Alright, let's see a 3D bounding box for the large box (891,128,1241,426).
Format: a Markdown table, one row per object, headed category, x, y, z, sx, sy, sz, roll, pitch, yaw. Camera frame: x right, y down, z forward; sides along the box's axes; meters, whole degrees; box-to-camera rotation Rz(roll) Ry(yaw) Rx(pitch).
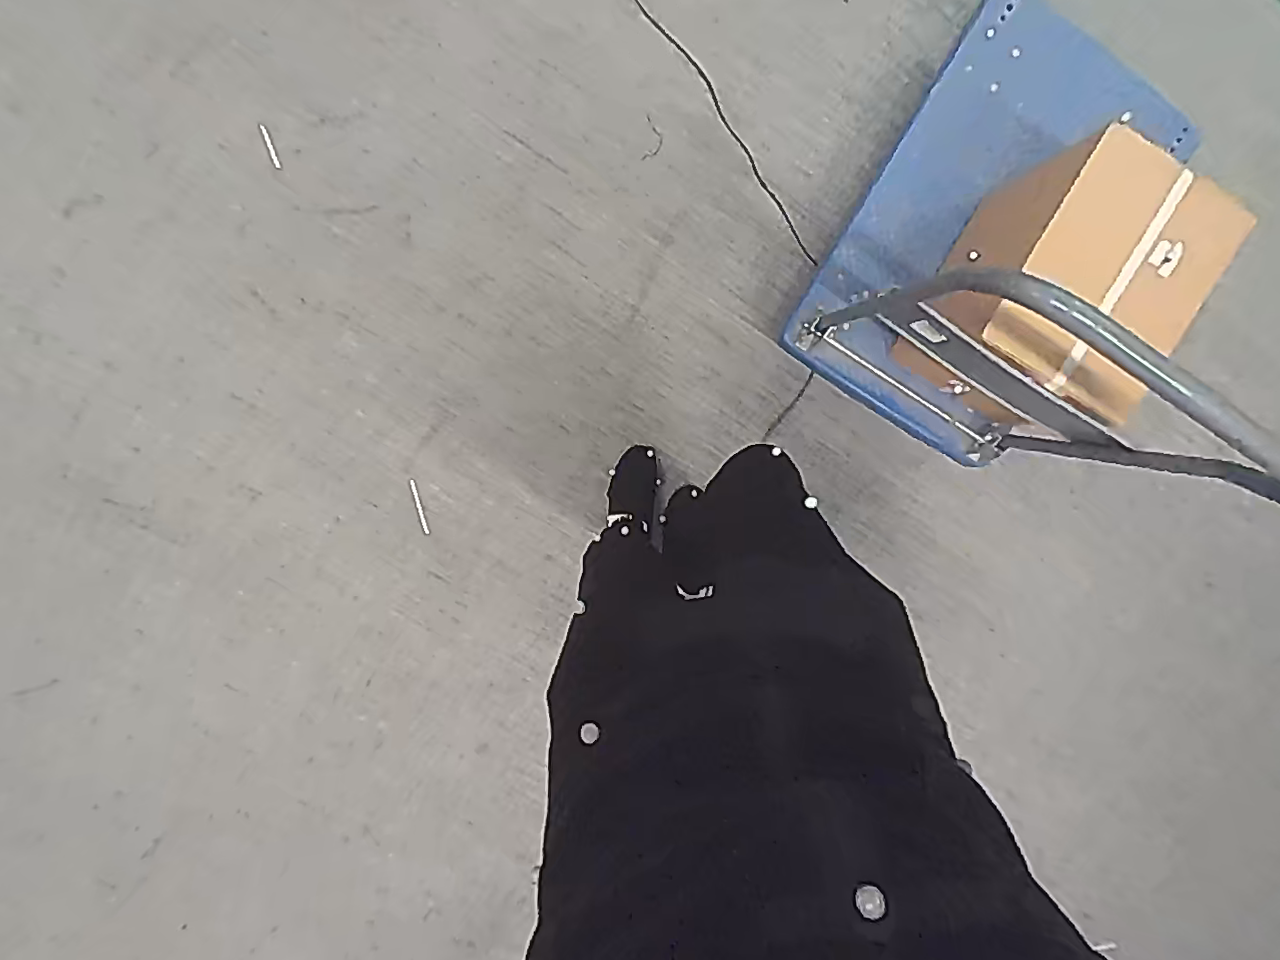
| category | x | y | z | sx | sy | sz | roll | pitch | yaw |
| --- | --- | --- | --- | --- | --- | --- | --- | --- | --- |
| large box | 0.786 | -0.349 | 1.061 | 0.320 | 0.320 | 0.408 | 29 | 94 | -7 |
